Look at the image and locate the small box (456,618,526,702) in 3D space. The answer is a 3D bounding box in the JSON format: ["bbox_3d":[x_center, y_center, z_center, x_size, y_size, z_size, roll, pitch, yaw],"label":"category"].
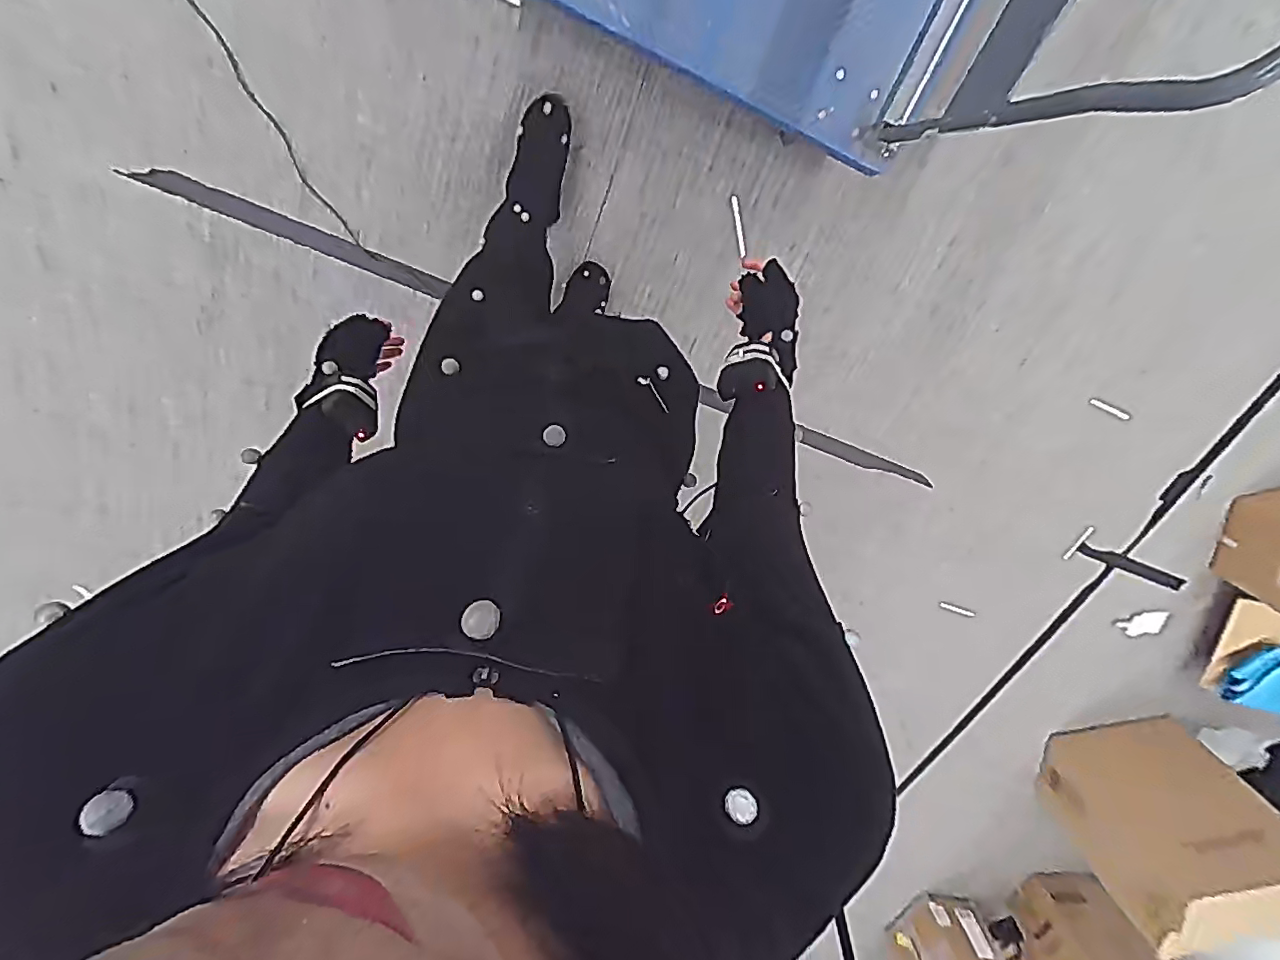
[{"bbox_3d":[-0.486,0.591,1.784,0.168,0.176,0.179,22,114,-16],"label":"small box"}]

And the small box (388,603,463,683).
[{"bbox_3d":[-0.679,0.517,1.729,0.179,0.176,0.168,15,115,-11],"label":"small box"}]
